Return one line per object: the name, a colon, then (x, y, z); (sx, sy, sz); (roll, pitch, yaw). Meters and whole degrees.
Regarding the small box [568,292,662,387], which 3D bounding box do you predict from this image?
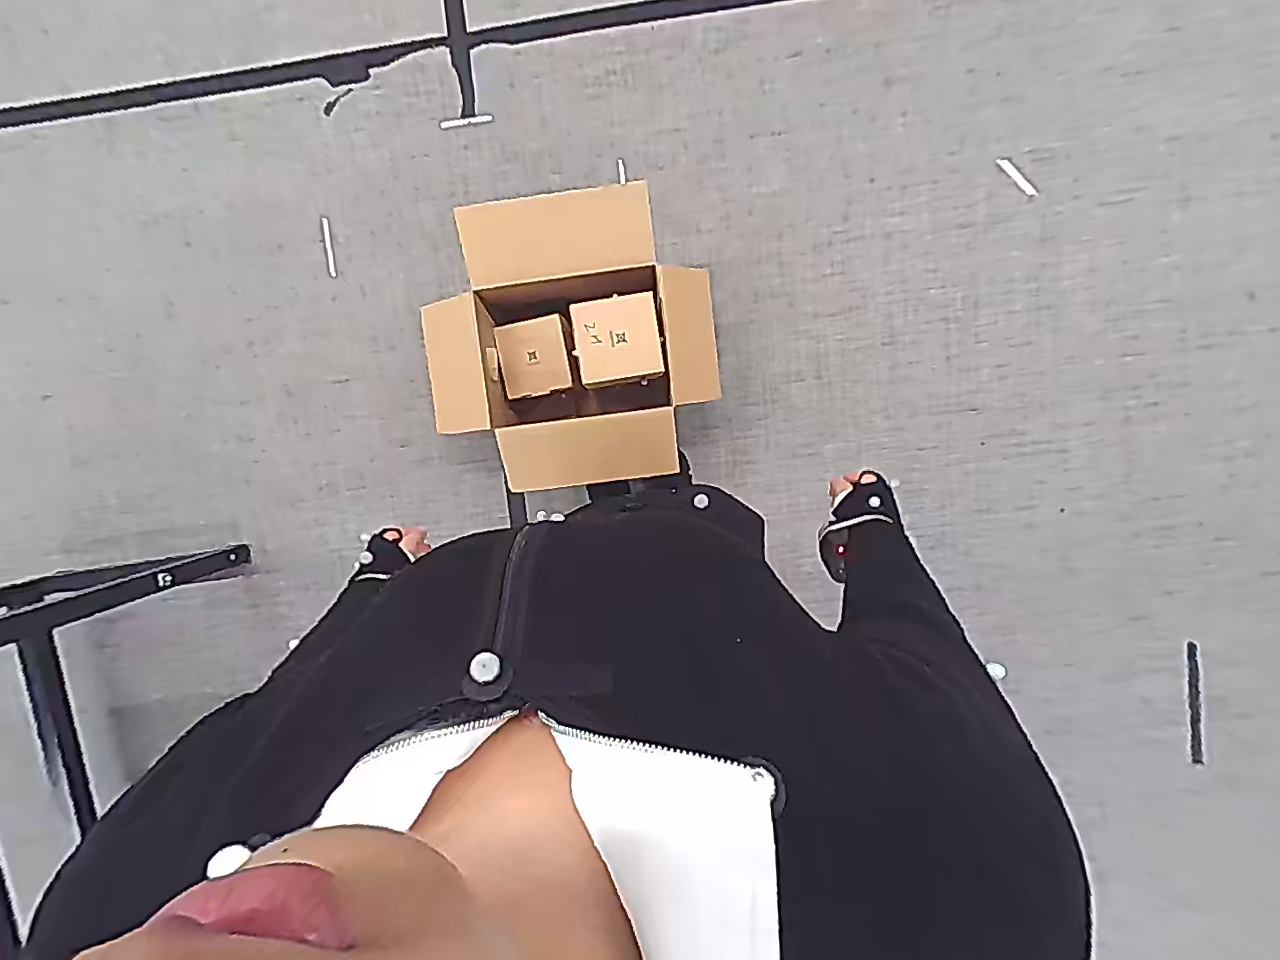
small box: (-0.053, -0.304, 1.199); (0.179, 0.176, 0.168); (-9, 95, 1)
